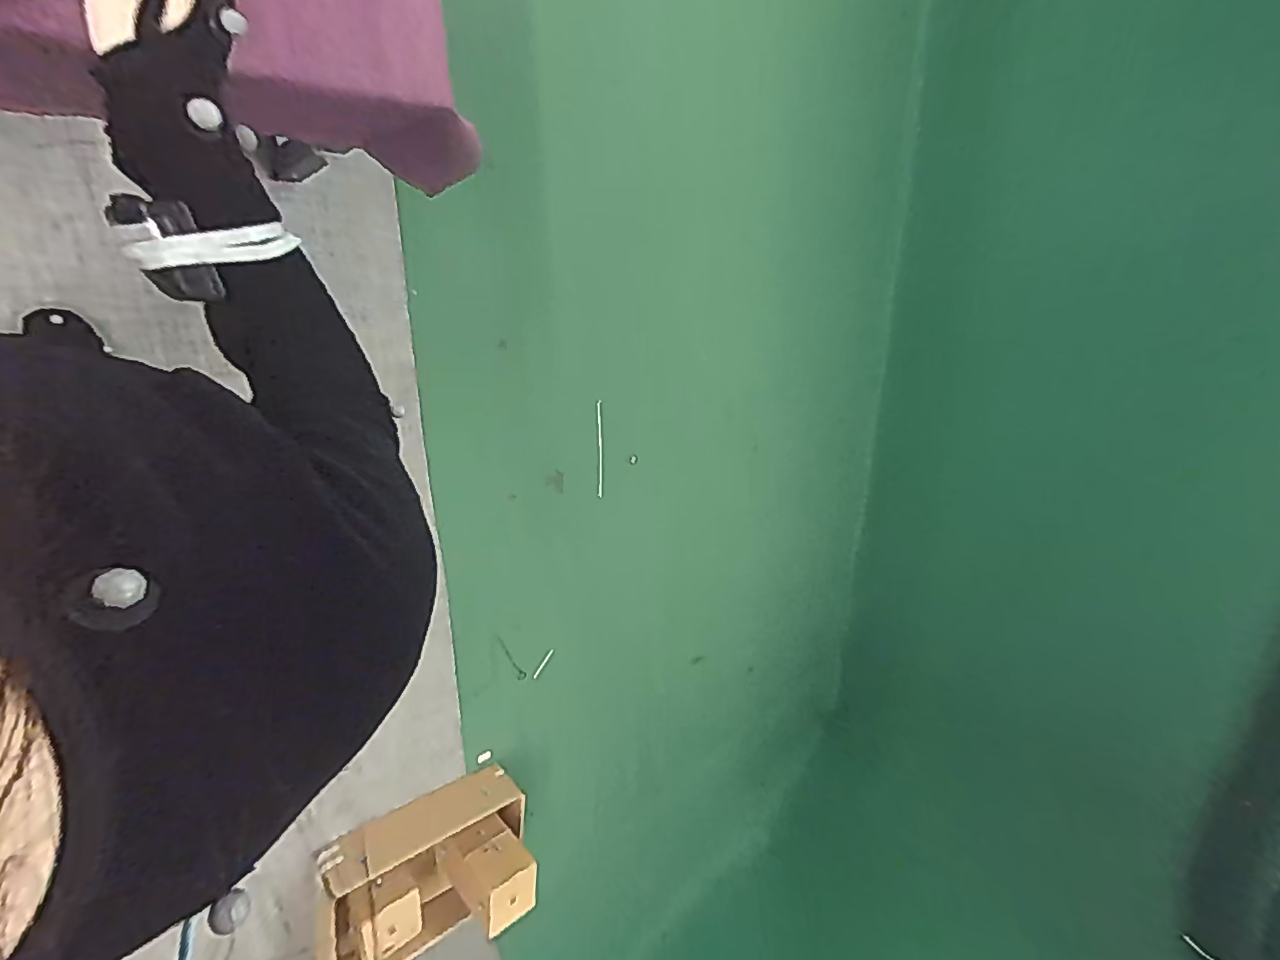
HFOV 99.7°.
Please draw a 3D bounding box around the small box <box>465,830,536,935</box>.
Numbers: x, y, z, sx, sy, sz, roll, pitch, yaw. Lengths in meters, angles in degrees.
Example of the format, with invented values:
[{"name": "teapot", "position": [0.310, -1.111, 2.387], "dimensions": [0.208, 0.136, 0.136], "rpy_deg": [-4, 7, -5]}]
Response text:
[{"name": "small box", "position": [-0.454, 1.293, 1.750], "dimensions": [0.168, 0.176, 0.179], "rpy_deg": [-7, 106, -44]}]
